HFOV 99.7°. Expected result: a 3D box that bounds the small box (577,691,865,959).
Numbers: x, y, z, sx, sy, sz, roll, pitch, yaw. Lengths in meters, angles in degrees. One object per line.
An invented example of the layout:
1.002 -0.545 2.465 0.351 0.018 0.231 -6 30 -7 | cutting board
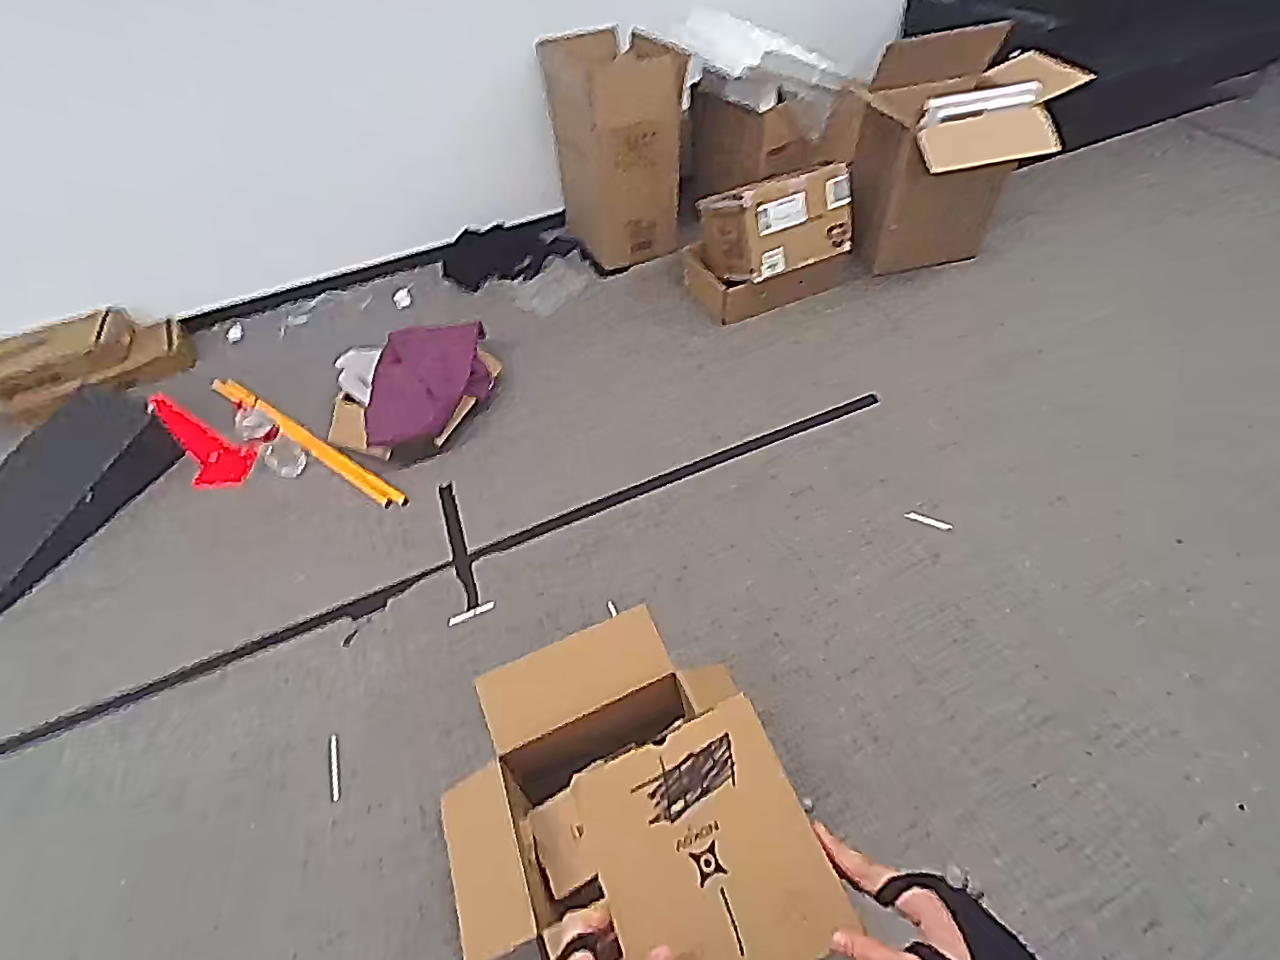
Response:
0.064 0.319 0.481 0.168 0.176 0.179 -25 58 -4 | small box
